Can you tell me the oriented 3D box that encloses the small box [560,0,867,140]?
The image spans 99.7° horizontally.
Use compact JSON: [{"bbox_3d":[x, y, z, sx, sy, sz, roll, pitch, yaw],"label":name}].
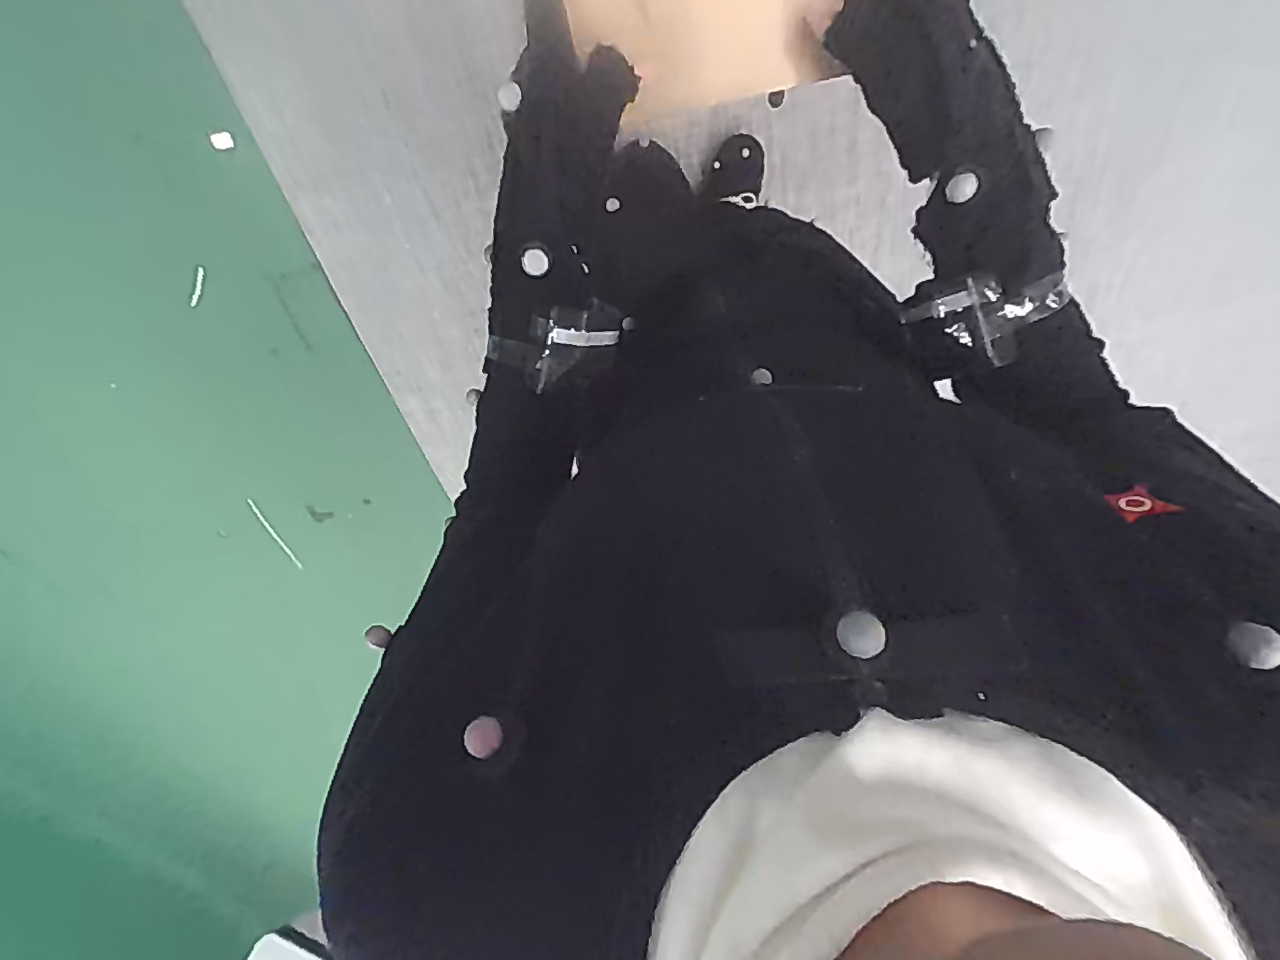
[{"bbox_3d":[0.038,-0.348,0.355,0.179,0.176,0.168,-9,128,9],"label":"small box"}]
